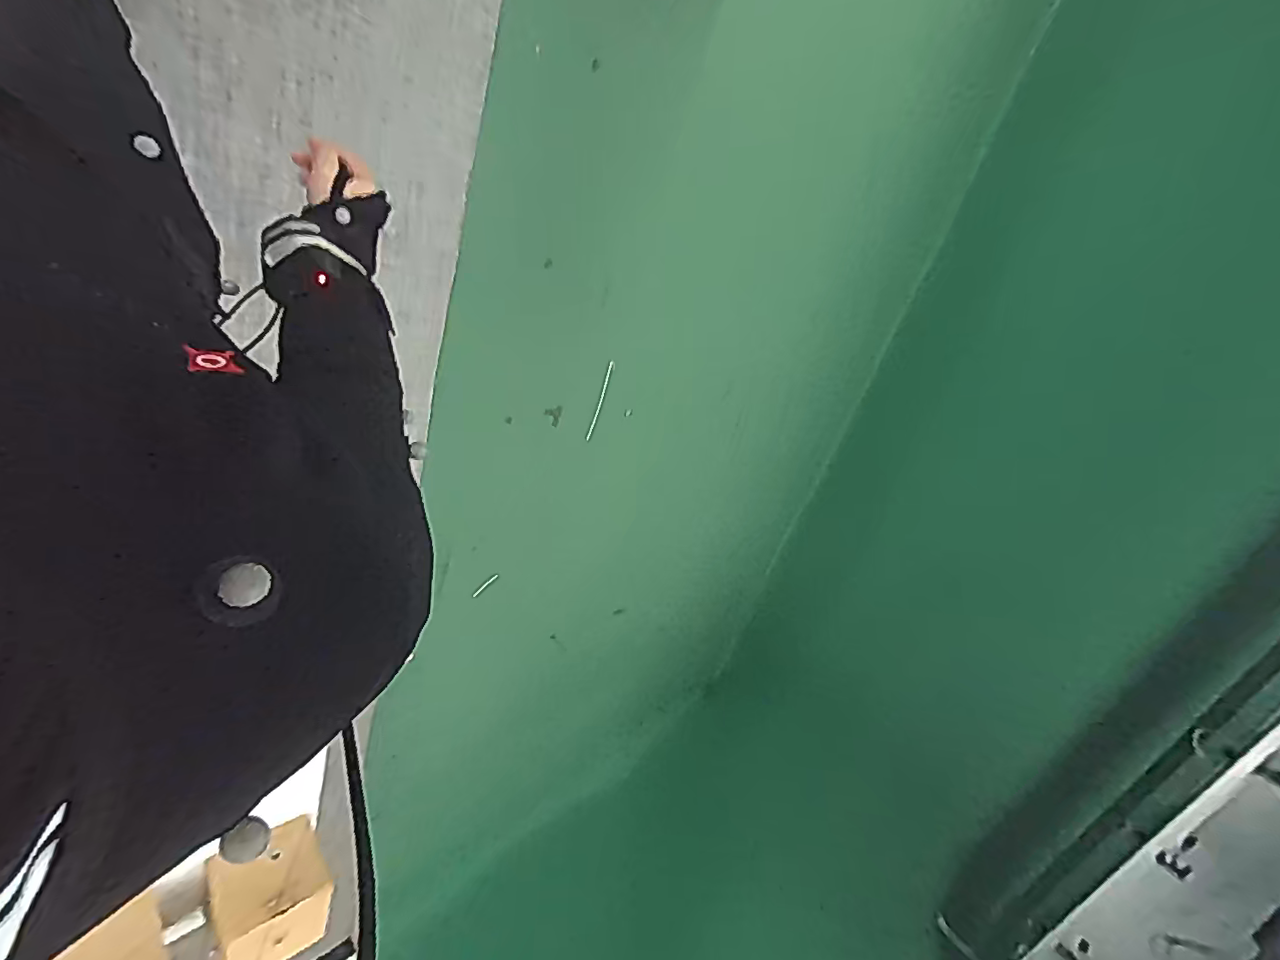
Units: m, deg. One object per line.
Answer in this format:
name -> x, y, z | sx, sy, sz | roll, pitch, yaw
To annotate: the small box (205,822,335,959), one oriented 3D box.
small box -> -0.709, 0.810, 1.033 | 0.168, 0.176, 0.179 | -5, 122, -48
